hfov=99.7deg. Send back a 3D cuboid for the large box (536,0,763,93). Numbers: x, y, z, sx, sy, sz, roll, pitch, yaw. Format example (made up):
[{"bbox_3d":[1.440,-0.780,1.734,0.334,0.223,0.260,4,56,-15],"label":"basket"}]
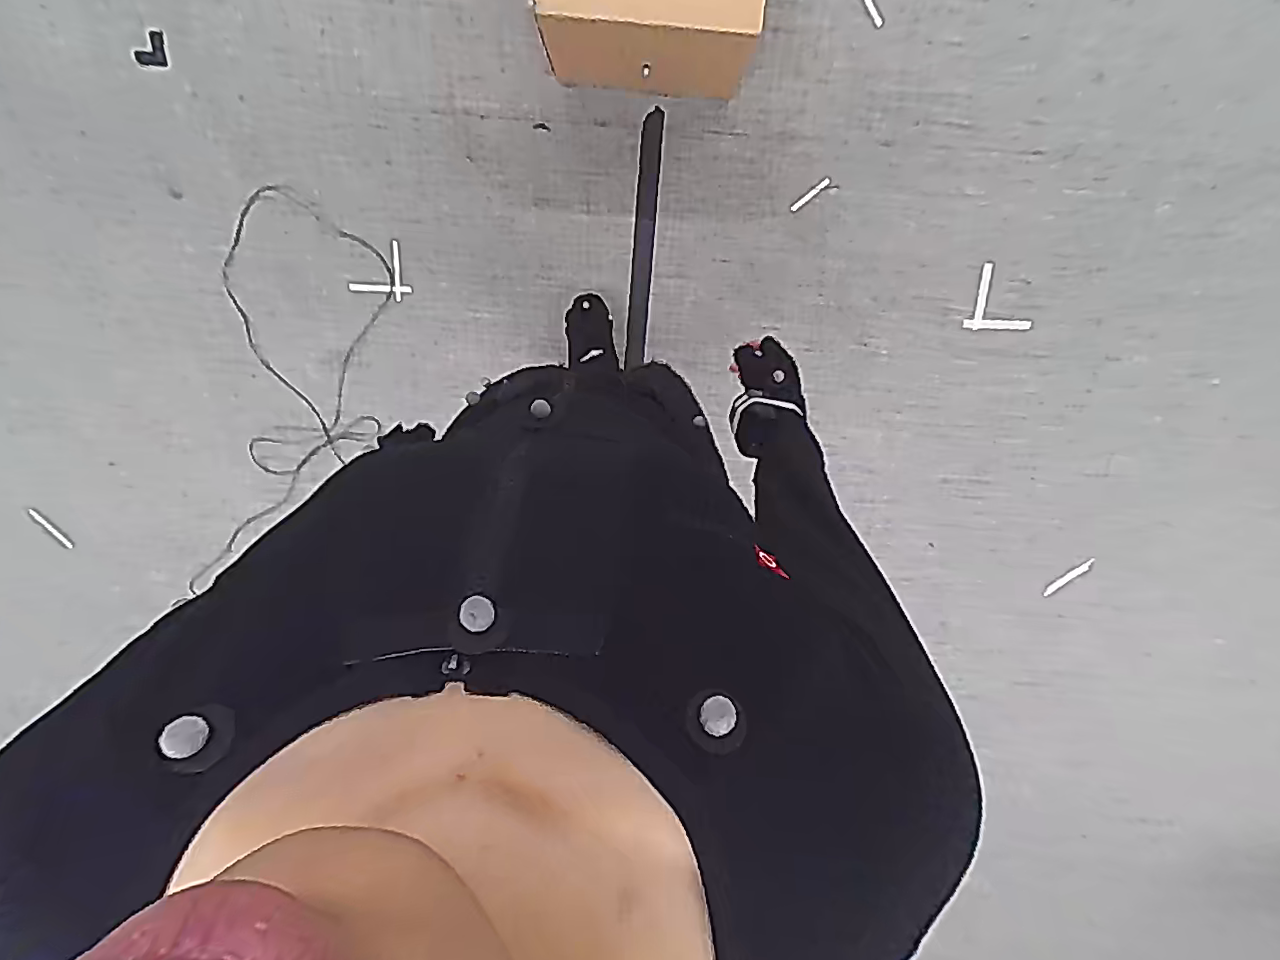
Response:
[{"bbox_3d":[0.026,-0.994,1.050,0.408,0.320,0.320,4,107,-1],"label":"large box"}]
